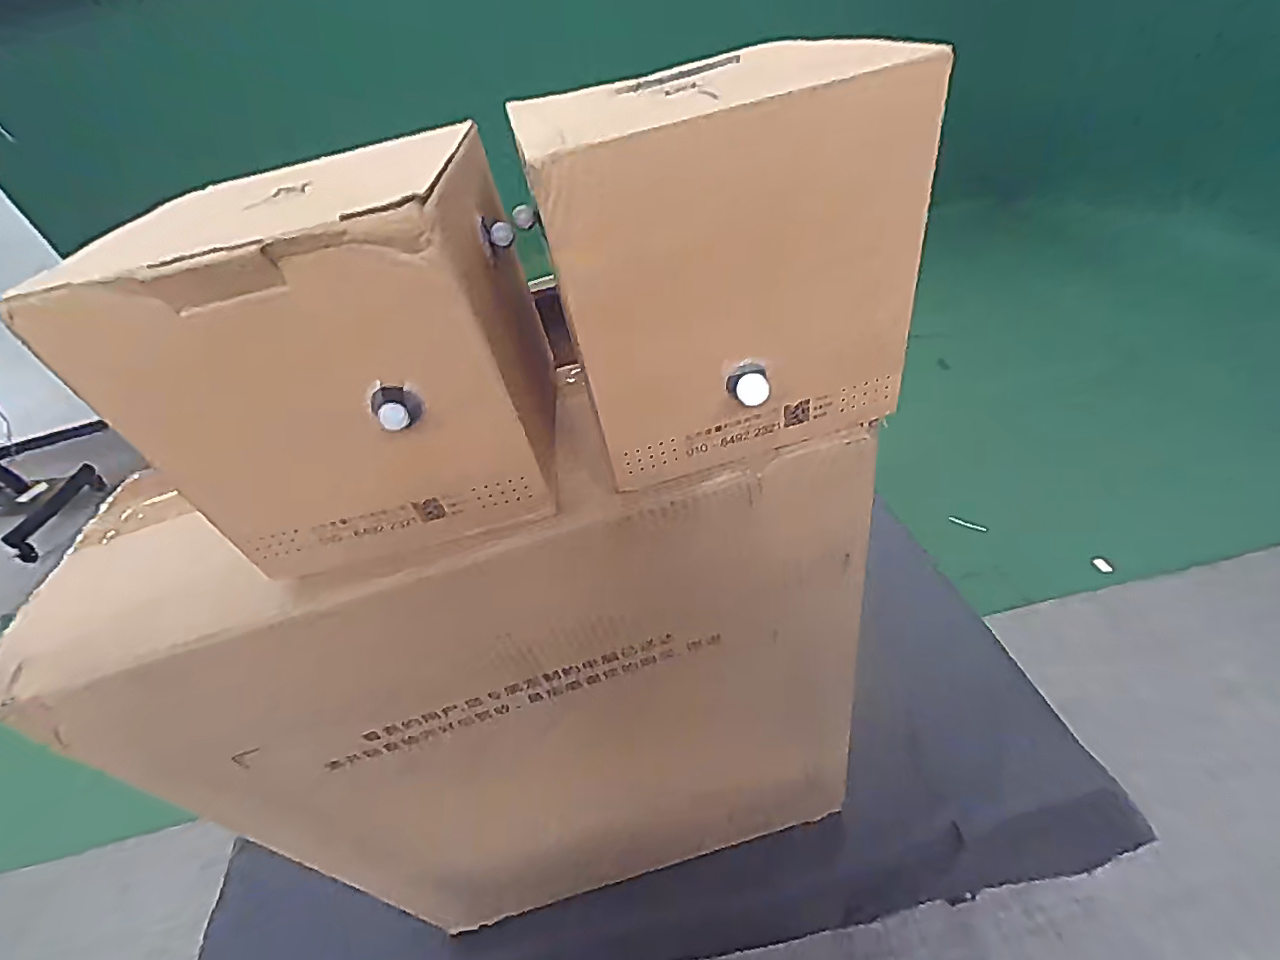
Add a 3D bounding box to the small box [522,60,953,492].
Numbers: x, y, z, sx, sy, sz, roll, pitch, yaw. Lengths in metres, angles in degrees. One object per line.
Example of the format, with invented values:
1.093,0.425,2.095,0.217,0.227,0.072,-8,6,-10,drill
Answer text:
0.037,-0.122,0.317,0.168,0.176,0.179,-16,42,-3,small box
